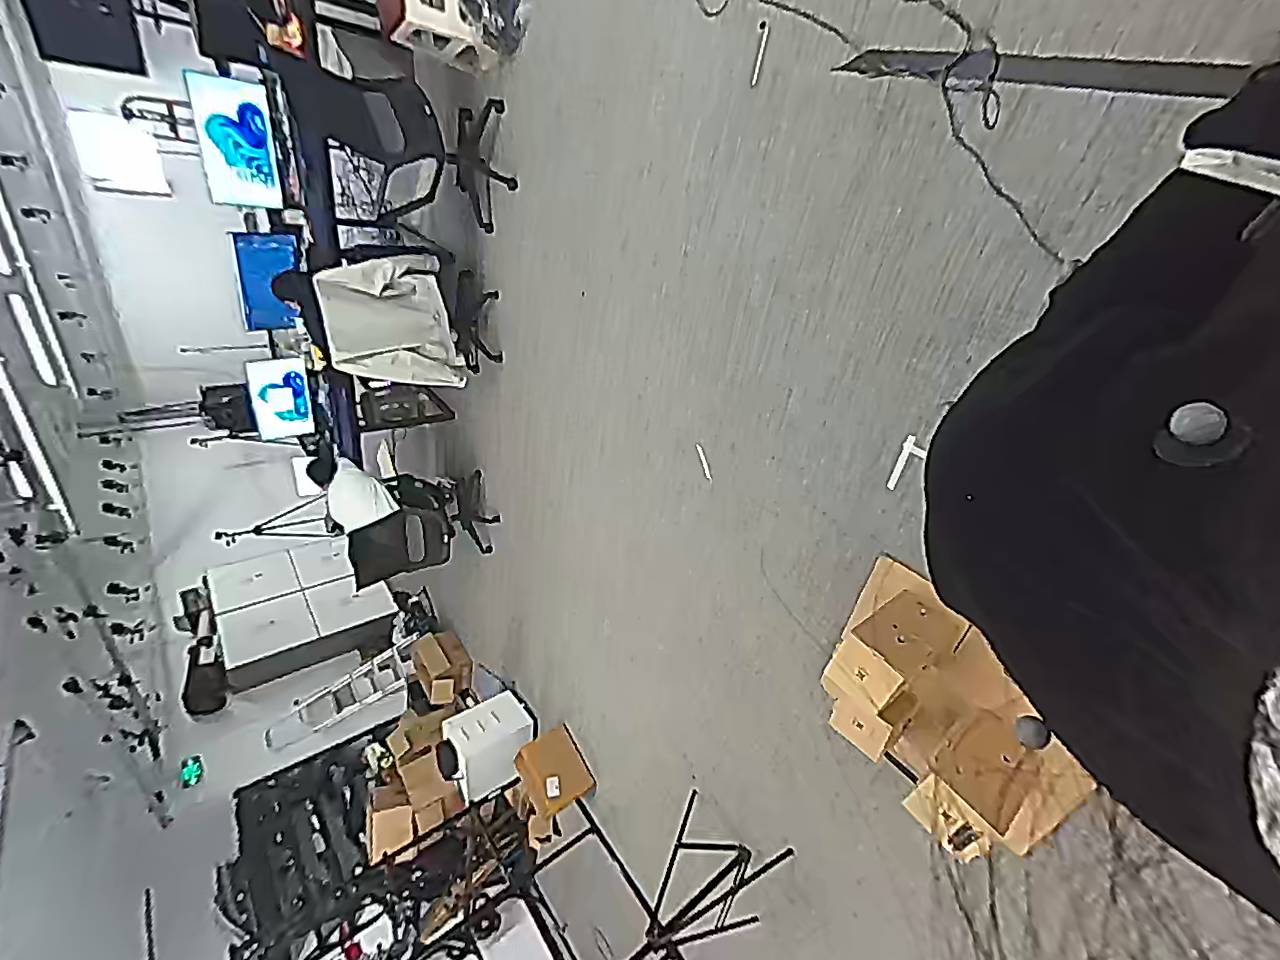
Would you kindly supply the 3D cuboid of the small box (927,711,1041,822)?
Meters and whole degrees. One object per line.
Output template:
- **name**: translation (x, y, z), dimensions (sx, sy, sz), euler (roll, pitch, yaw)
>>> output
- **small box**: translation (0.930, 0.766, 1.460), dimensions (0.179, 0.176, 0.168), euler (45, 134, 31)

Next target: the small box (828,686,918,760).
- **small box**: translation (0.731, 0.727, 1.702), dimensions (0.179, 0.176, 0.168), euler (34, 128, 41)

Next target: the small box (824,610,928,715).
- **small box**: translation (0.641, 0.487, 1.461), dimensions (0.168, 0.176, 0.179), euler (42, 131, 35)
